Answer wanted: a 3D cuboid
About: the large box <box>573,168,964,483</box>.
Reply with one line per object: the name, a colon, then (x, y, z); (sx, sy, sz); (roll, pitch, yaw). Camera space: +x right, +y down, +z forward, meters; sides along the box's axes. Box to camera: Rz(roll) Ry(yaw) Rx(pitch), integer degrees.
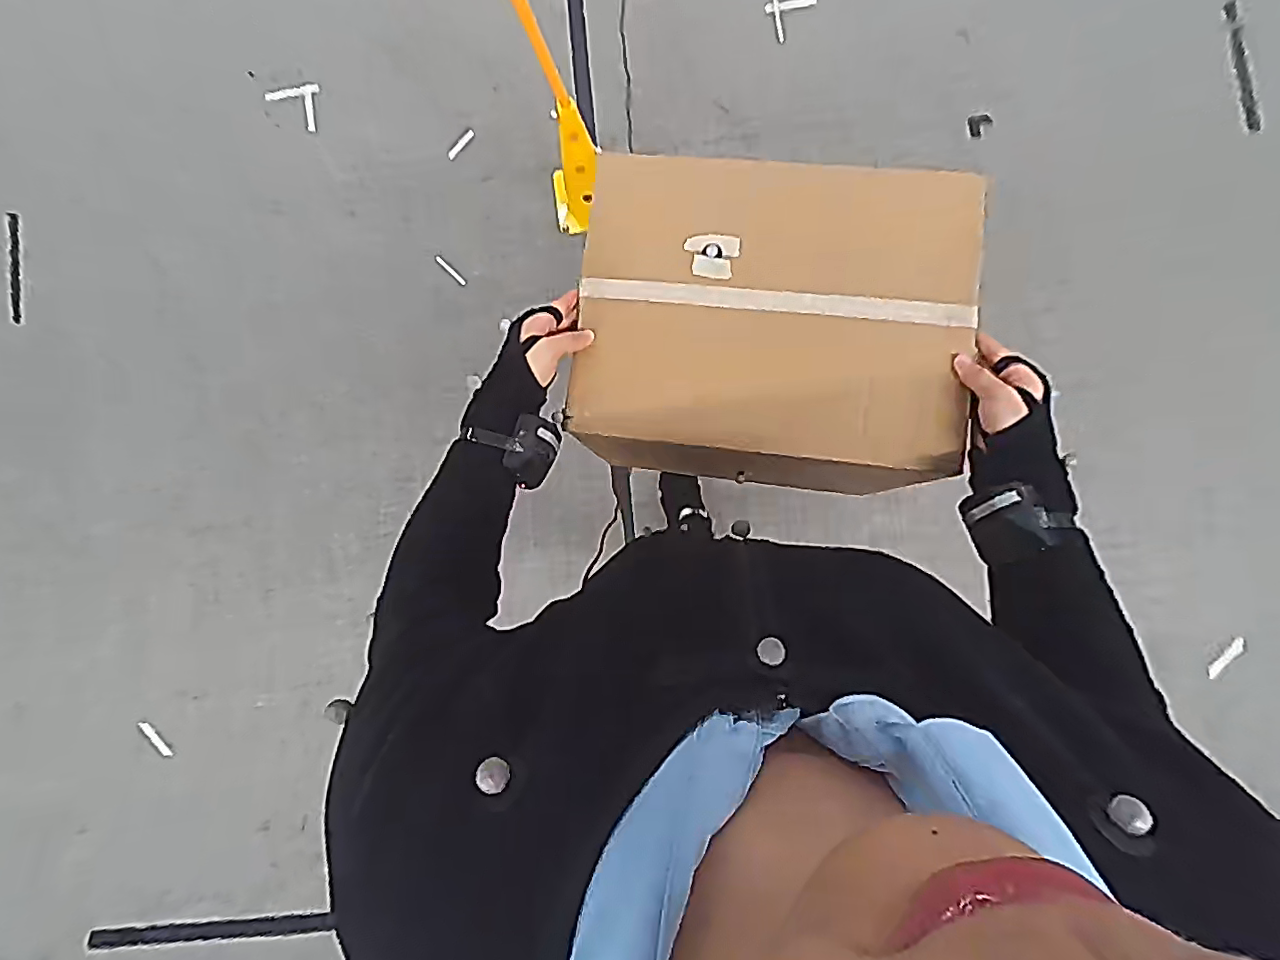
large box: (0.153, -0.172, 0.723); (0.408, 0.320, 0.320); (4, 82, 7)
